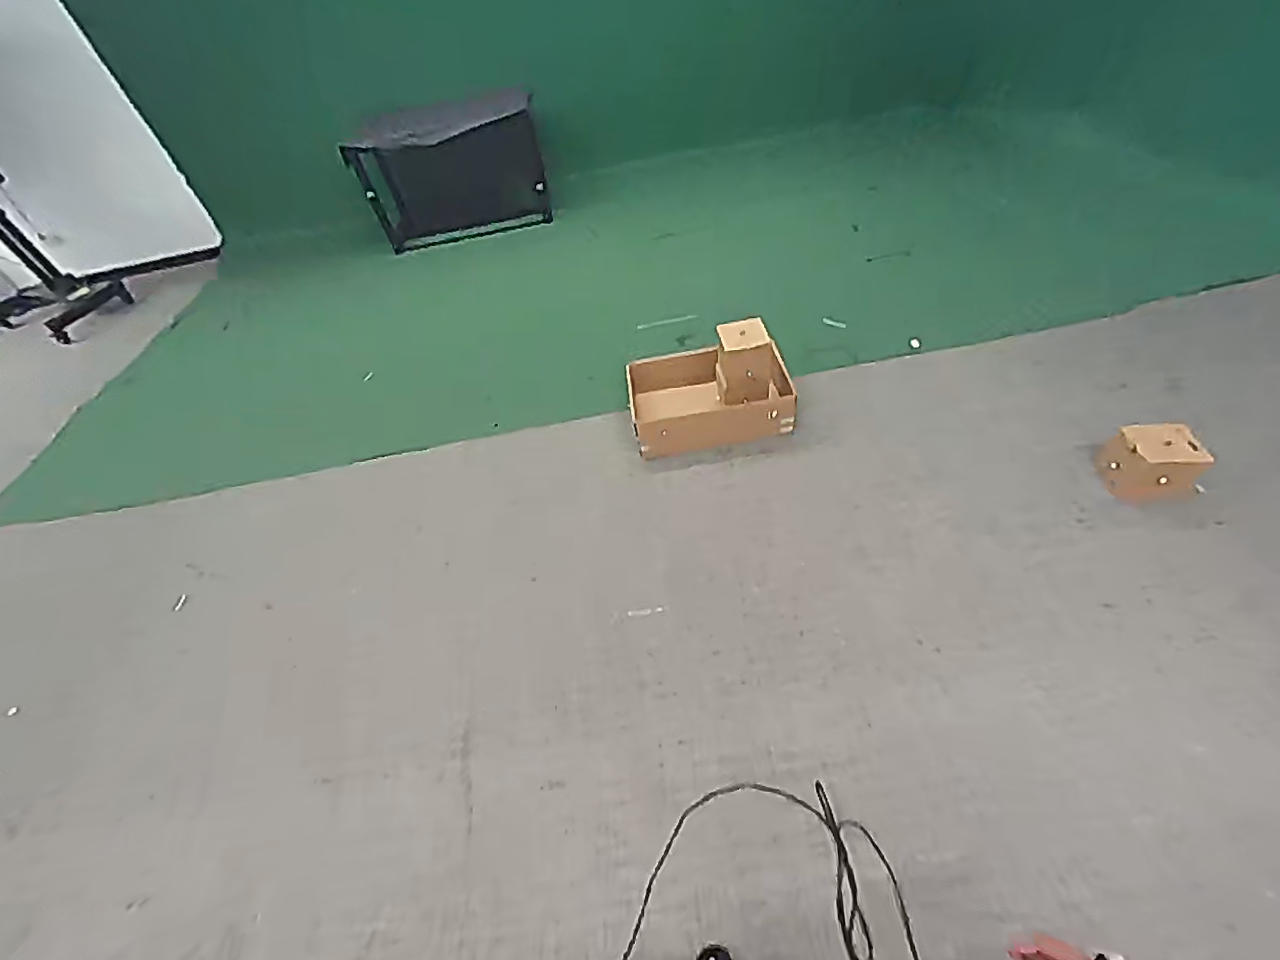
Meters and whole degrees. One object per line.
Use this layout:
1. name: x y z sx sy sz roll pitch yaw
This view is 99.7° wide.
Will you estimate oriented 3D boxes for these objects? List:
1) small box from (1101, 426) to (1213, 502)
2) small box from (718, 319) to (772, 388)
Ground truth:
1. small box: 1.570 -0.044 1.662 0.179 0.176 0.168 -3 47 11
2. small box: 0.386 -0.466 2.002 0.168 0.176 0.179 -11 47 3
